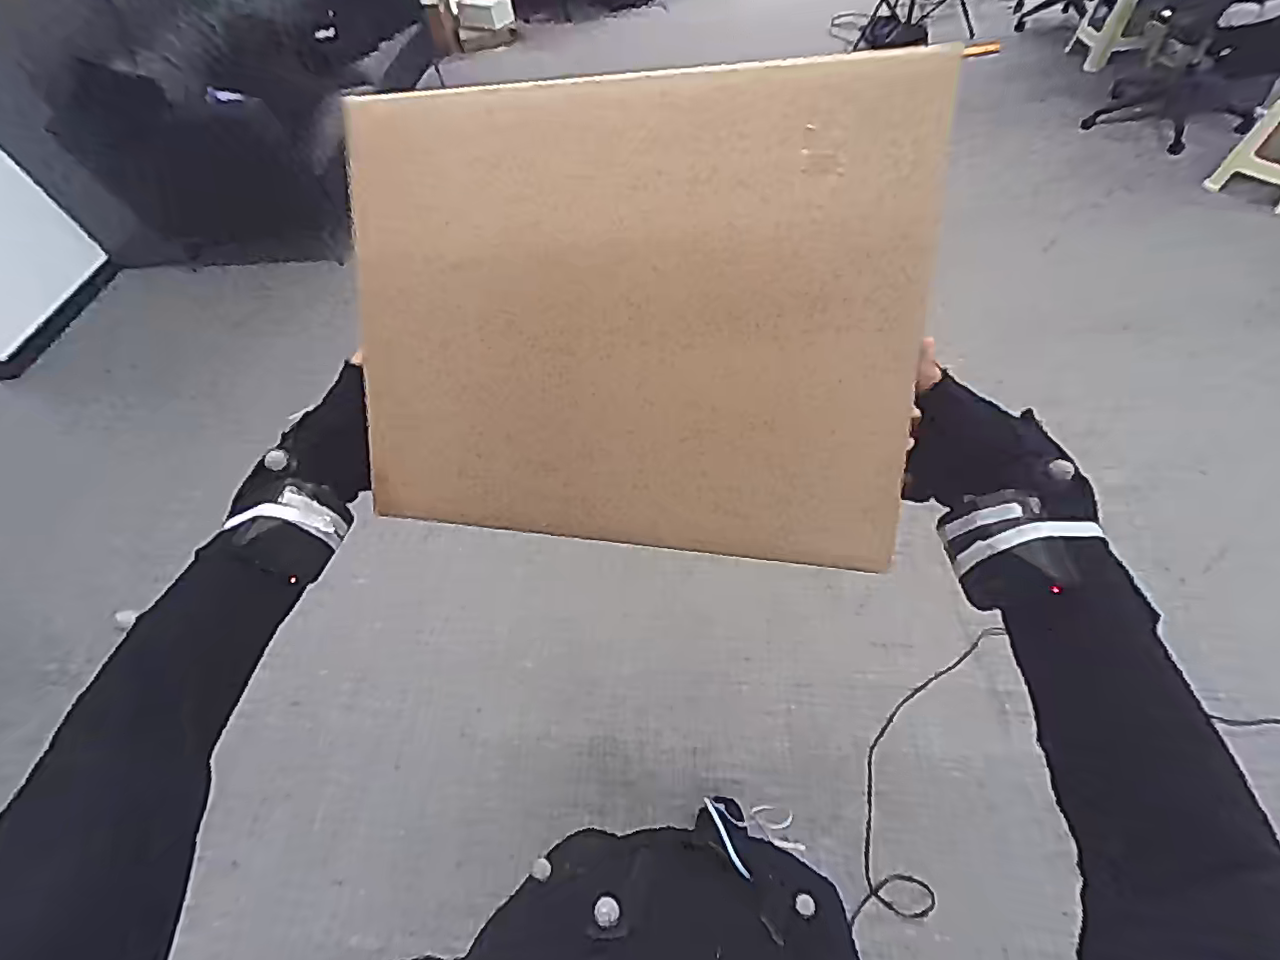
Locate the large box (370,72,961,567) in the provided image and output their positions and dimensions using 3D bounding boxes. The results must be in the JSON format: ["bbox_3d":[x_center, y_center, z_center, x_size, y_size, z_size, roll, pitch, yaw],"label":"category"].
[{"bbox_3d":[0.019,-0.131,0.522,0.408,0.320,0.320,6,14,14],"label":"large box"}]
